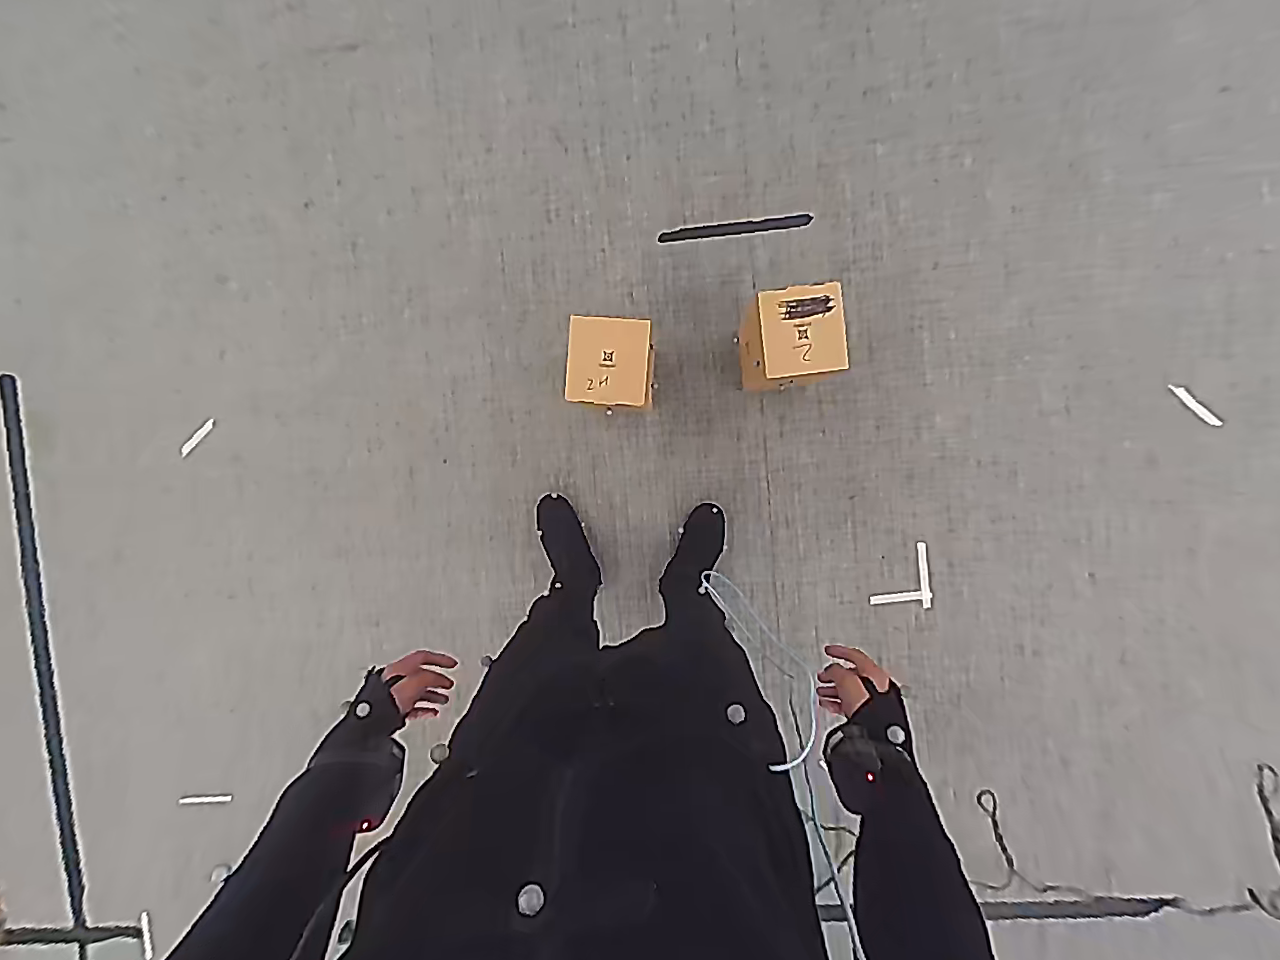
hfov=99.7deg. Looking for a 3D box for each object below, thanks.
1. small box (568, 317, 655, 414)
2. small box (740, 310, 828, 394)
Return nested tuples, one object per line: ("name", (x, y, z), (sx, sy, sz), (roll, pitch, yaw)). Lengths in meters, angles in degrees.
("small box", (-0.056, -0.242, 1.177), (0.168, 0.176, 0.179), (5, 94, 3))
("small box", (0.343, -0.305, 1.320), (0.179, 0.176, 0.168), (-6, 93, 2))
